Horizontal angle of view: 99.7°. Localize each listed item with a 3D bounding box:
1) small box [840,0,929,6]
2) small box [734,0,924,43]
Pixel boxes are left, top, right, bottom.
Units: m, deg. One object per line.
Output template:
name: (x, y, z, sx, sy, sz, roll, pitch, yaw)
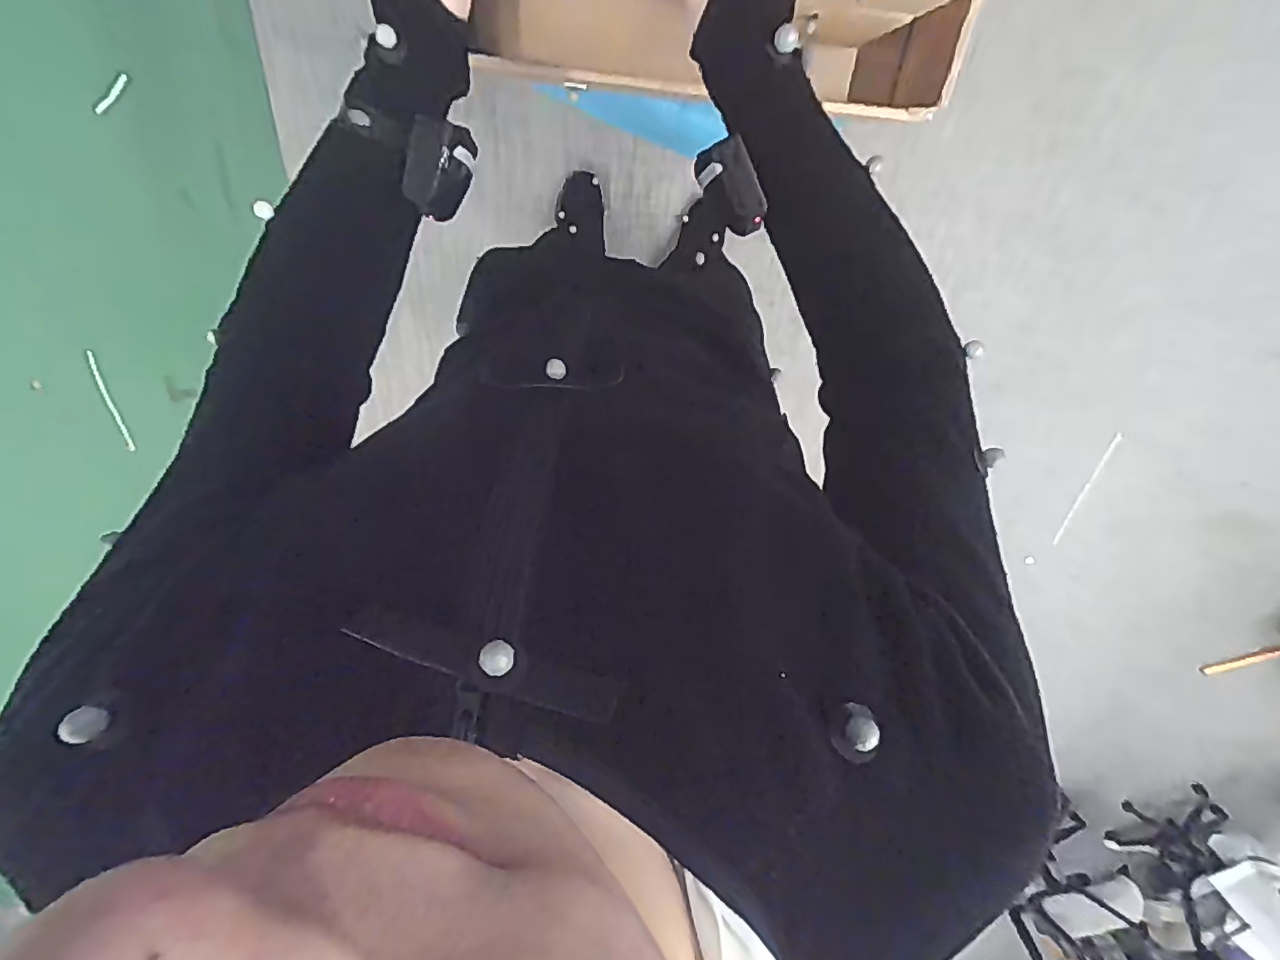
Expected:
small box: (0.215, -0.509, 0.431, 0.179, 0.176, 0.168, 4, 120, -3)
small box: (0.208, -0.591, 0.573, 0.179, 0.176, 0.168, 5, 120, -5)
